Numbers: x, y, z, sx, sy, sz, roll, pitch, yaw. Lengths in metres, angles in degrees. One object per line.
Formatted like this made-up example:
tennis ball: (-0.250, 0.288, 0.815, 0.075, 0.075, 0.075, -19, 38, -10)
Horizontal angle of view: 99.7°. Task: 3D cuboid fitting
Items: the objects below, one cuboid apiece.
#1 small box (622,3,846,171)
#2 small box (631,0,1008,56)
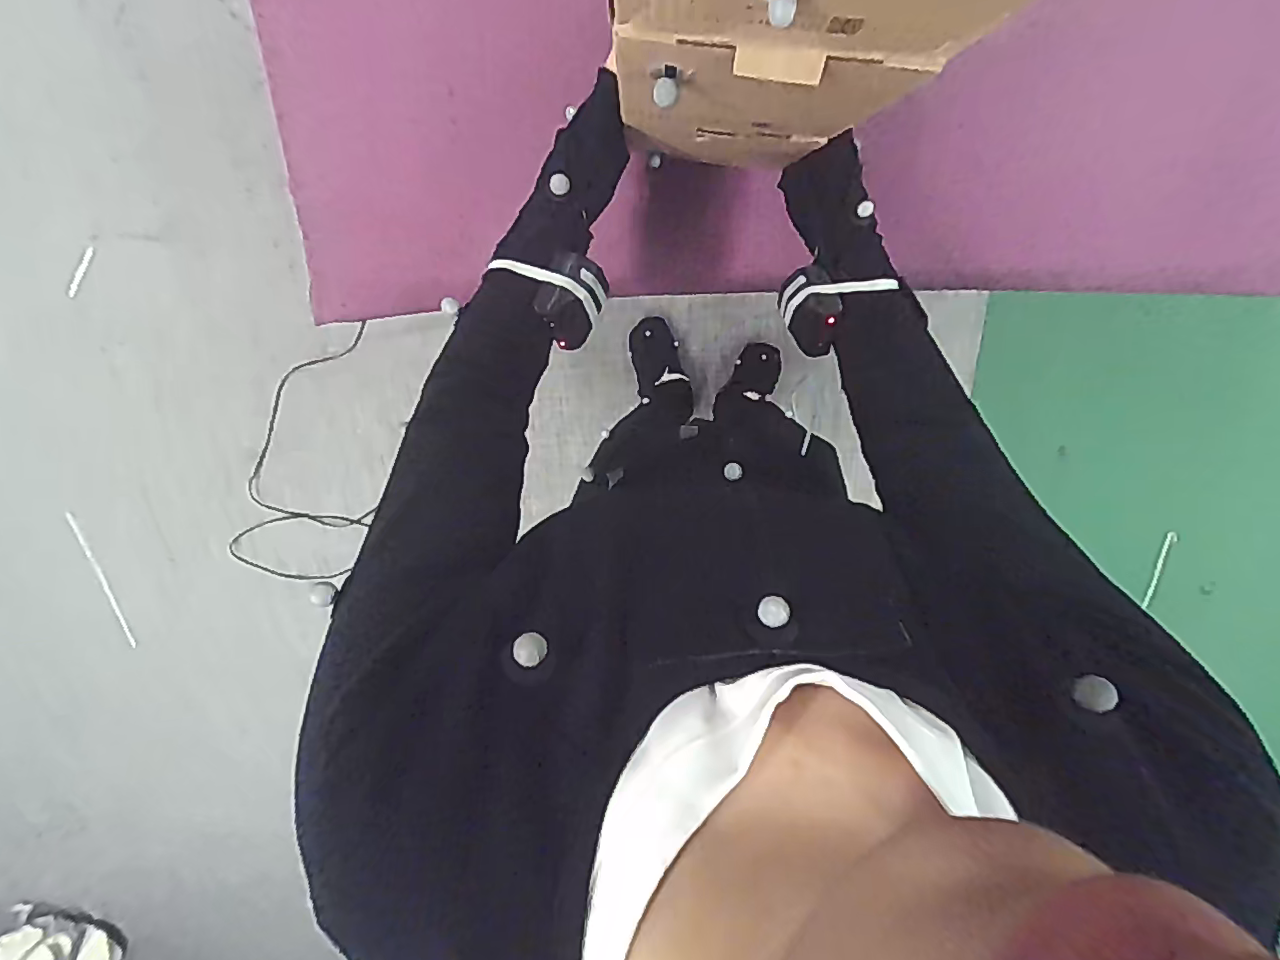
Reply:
small box: (0.077, -0.381, 0.464, 0.168, 0.176, 0.179, 6, 112, -3)
small box: (0.075, -0.265, 0.158, 0.168, 0.176, 0.179, 3, 112, -1)
